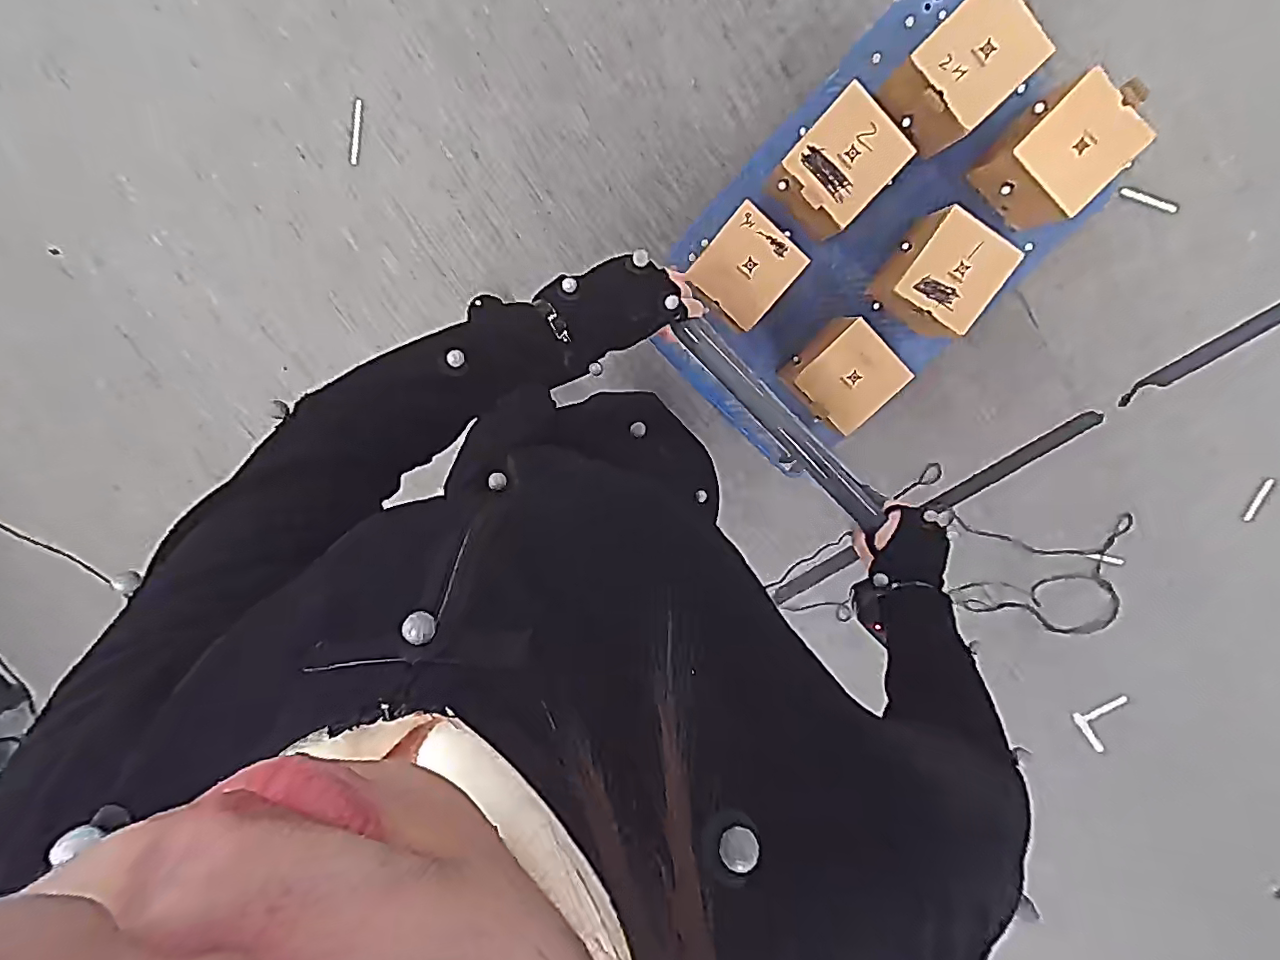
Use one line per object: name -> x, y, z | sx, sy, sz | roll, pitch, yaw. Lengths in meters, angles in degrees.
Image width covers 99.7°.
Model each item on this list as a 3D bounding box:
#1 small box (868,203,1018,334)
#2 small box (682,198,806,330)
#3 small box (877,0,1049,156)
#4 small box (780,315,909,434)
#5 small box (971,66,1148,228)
small box -> 0.587, -0.410, 1.081 | 0.168, 0.176, 0.179 | 32, 104, -7
small box -> 0.200, -0.424, 1.092 | 0.168, 0.176, 0.179 | 40, 104, -10
small box -> 0.572, -0.739, 0.985 | 0.179, 0.176, 0.168 | -42, 100, 14
small box -> 0.417, -0.226, 1.142 | 0.168, 0.176, 0.179 | 44, 103, -10
small box -> 0.765, -0.608, 1.017 | 0.168, 0.176, 0.179 | 40, 104, -9
